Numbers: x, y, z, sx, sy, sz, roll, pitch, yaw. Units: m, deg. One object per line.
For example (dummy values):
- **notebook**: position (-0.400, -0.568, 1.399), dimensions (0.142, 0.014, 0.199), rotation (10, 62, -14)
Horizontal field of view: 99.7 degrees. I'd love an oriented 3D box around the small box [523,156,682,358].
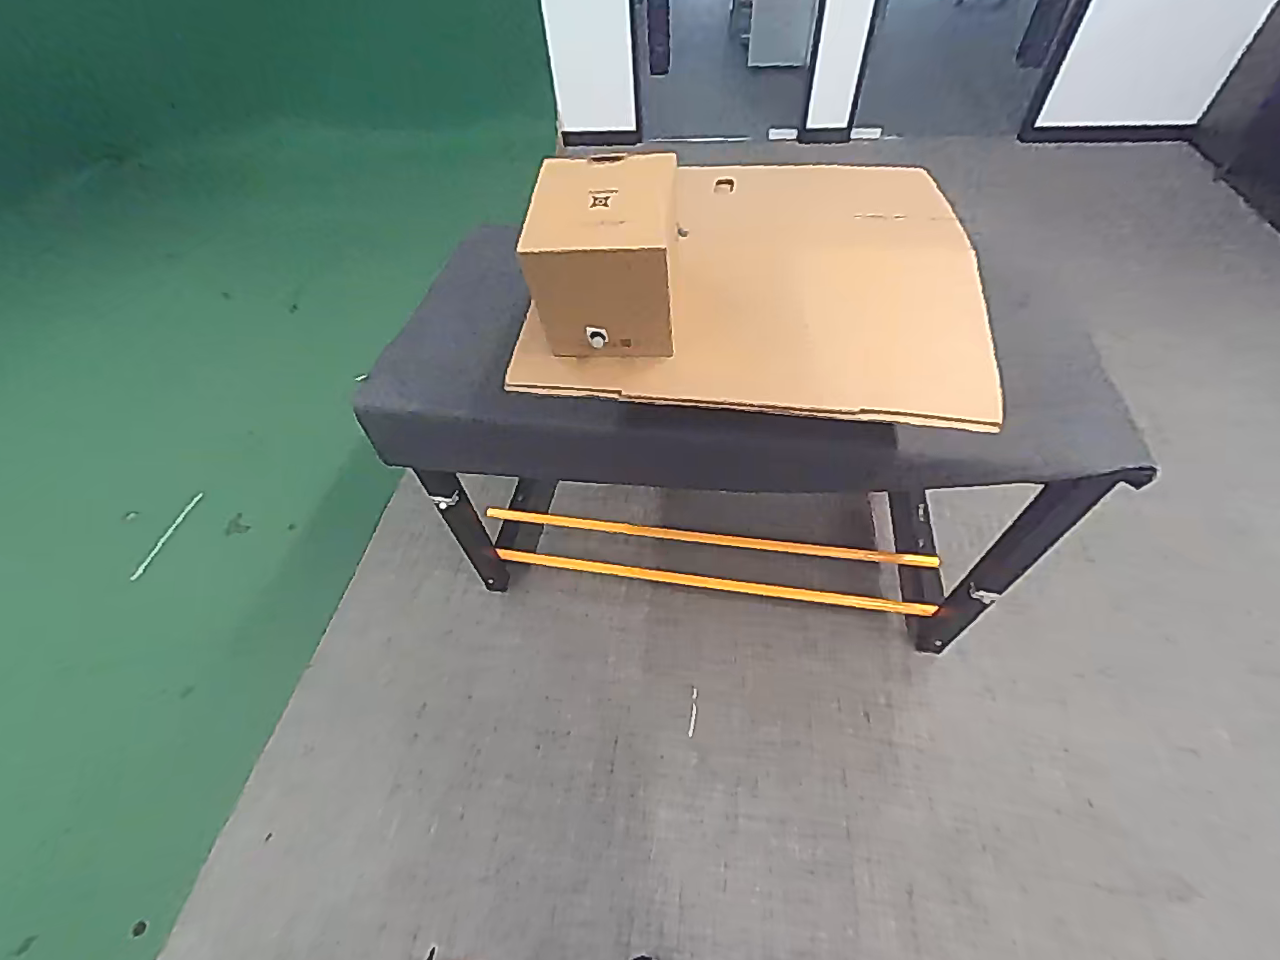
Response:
- **small box**: position (-0.034, -0.277, 0.688), dimensions (0.168, 0.176, 0.179), rotation (0, 61, 7)
